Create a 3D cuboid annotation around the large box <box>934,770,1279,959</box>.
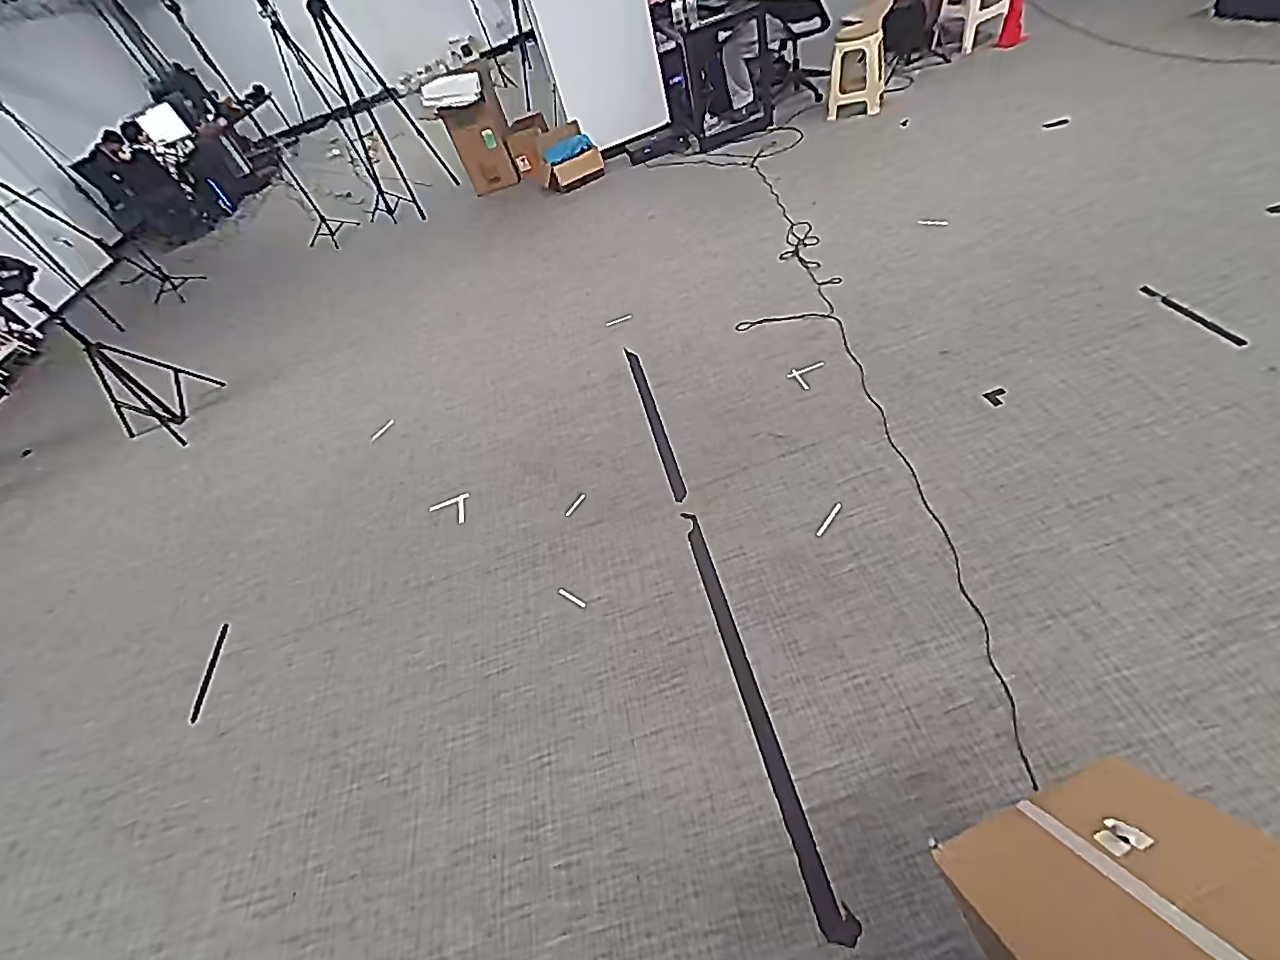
[{"bbox_3d":[0.637,0.613,0.599,0.320,0.408,0.320,-26,83,-1],"label":"large box"}]
